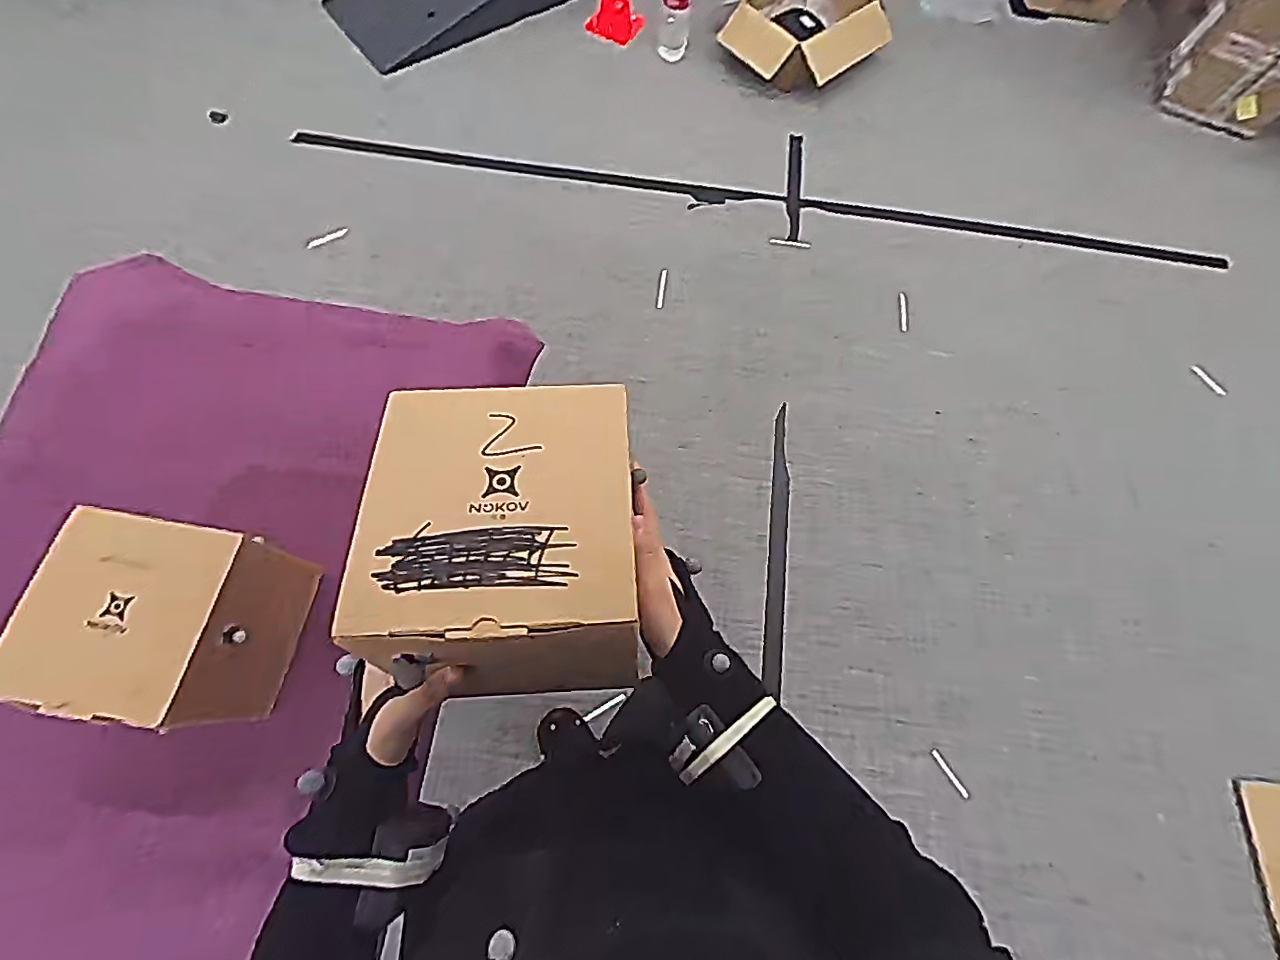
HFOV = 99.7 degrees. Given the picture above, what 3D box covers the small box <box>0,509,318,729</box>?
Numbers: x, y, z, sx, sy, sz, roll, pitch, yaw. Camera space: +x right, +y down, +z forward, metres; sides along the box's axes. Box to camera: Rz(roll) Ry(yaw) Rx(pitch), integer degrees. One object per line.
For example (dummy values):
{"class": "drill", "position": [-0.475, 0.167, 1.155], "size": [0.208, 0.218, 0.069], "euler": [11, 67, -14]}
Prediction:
{"class": "small box", "position": [-0.478, 0.149, 0.567], "size": [0.168, 0.176, 0.179], "euler": [10, 68, -1]}
